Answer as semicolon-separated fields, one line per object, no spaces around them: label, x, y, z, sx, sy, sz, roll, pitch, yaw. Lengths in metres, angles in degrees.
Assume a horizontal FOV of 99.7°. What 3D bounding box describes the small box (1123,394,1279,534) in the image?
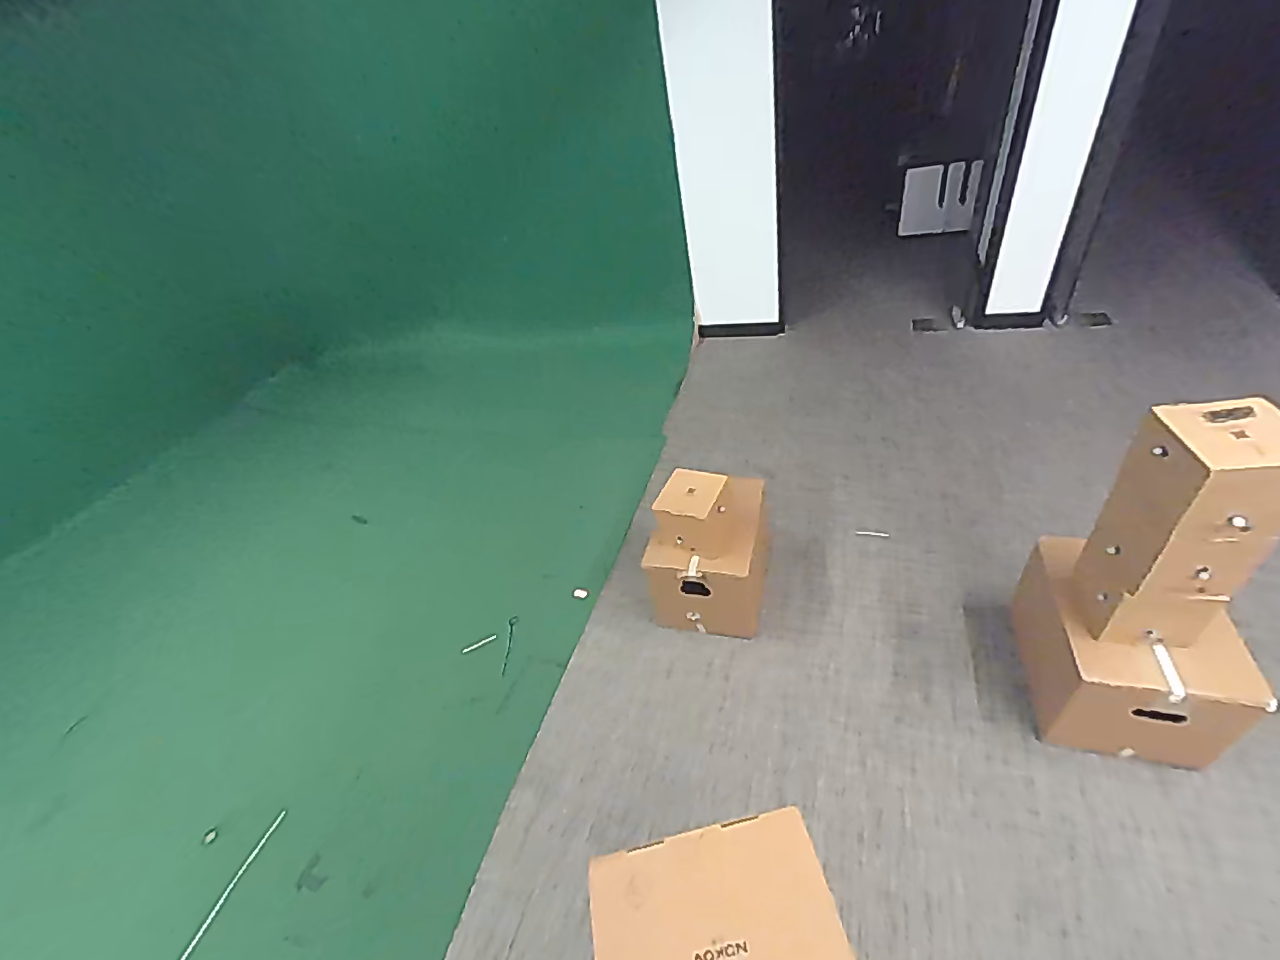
small box;0.999;-0.026;0.940;0.168;0.176;0.179;-5;42;14

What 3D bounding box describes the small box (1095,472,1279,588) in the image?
small box;1.034;0.096;1.045;0.168;0.176;0.179;-4;43;14

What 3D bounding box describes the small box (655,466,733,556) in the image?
small box;0.164;0.088;1.562;0.168;0.176;0.179;10;47;28

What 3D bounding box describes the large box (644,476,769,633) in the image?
large box;0.234;0.234;1.753;0.320;0.320;0.408;2;43;20

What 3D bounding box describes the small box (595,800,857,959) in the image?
small box;0.069;0.377;0.397;0.168;0.176;0.179;-13;39;-1
